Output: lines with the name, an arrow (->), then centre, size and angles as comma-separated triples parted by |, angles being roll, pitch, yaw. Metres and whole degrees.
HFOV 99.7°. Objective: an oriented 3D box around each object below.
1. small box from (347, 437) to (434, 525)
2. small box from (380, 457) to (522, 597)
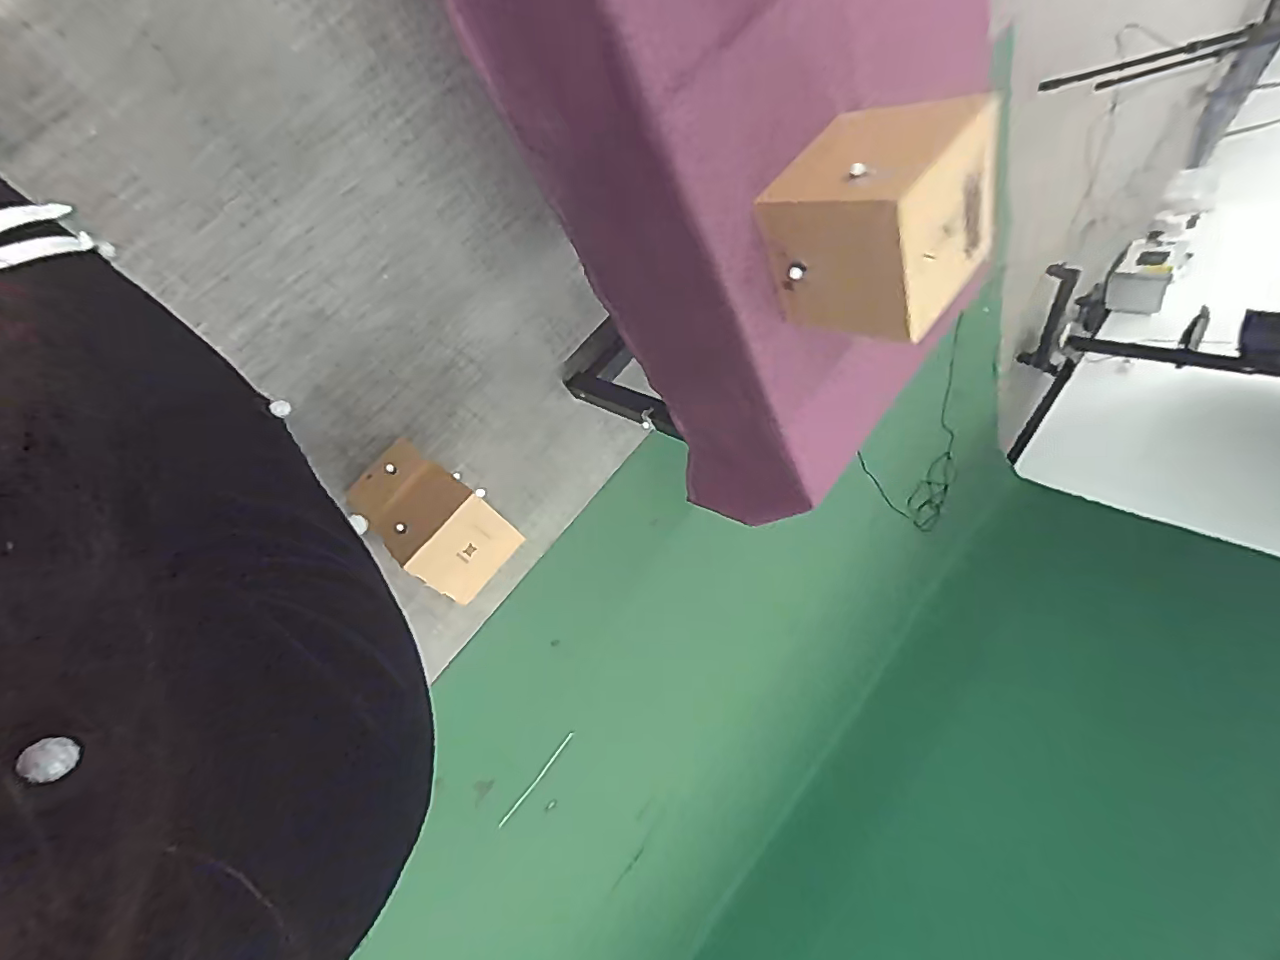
small box -> -0.482, 0.026, 1.148 | 0.168, 0.176, 0.179 | -51, 137, -11
small box -> -0.371, 0.087, 1.044 | 0.179, 0.176, 0.168 | -50, 138, -13
